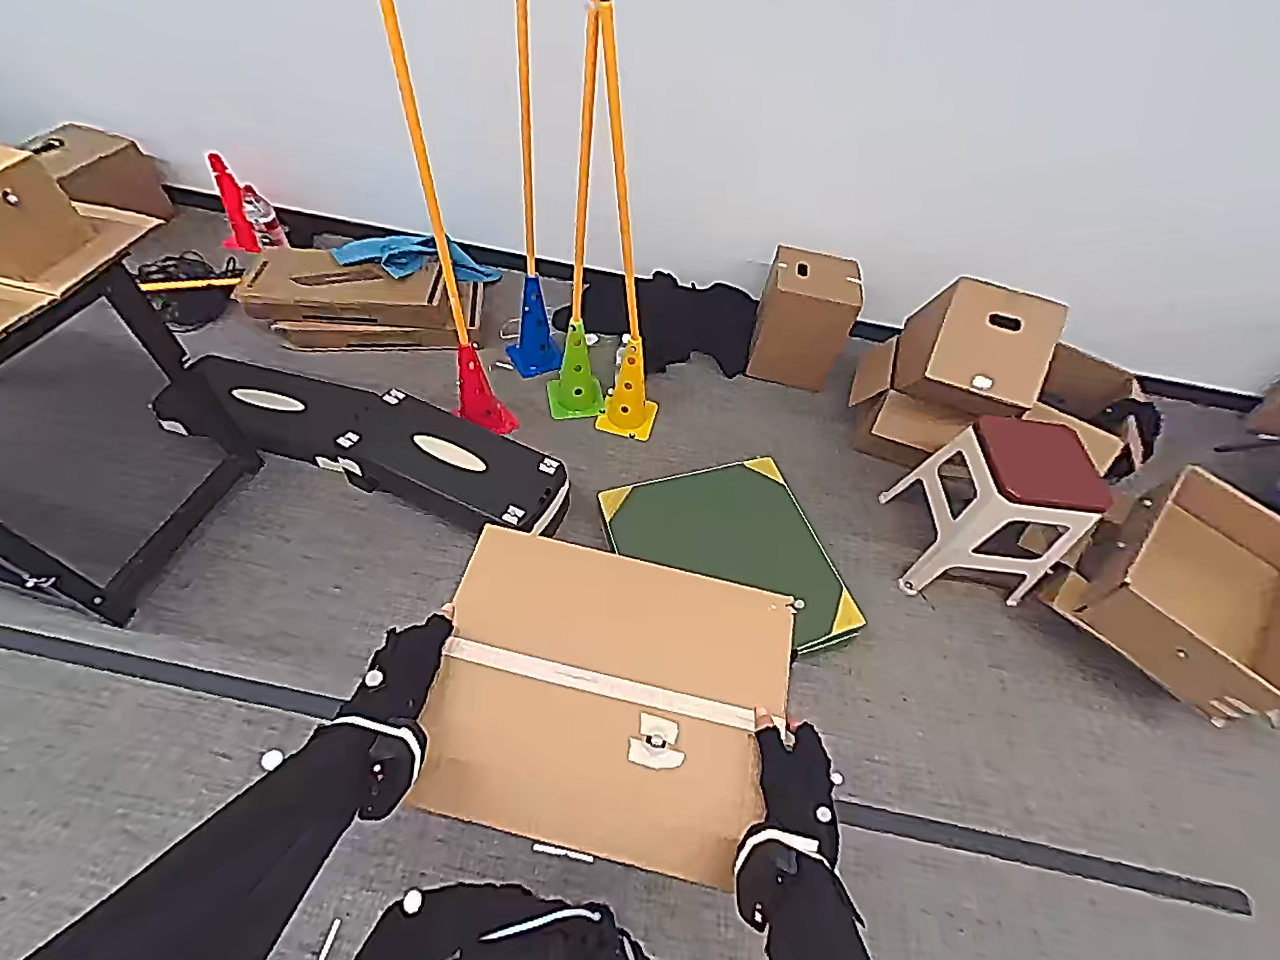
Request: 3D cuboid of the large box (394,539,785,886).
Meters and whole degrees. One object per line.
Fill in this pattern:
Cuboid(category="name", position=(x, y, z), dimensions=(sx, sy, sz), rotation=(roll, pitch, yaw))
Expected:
Cuboid(category="large box", position=(-0.049, 0.320, 0.756), dimensions=(0.408, 0.320, 0.320), rotation=(13, 59, 2))
